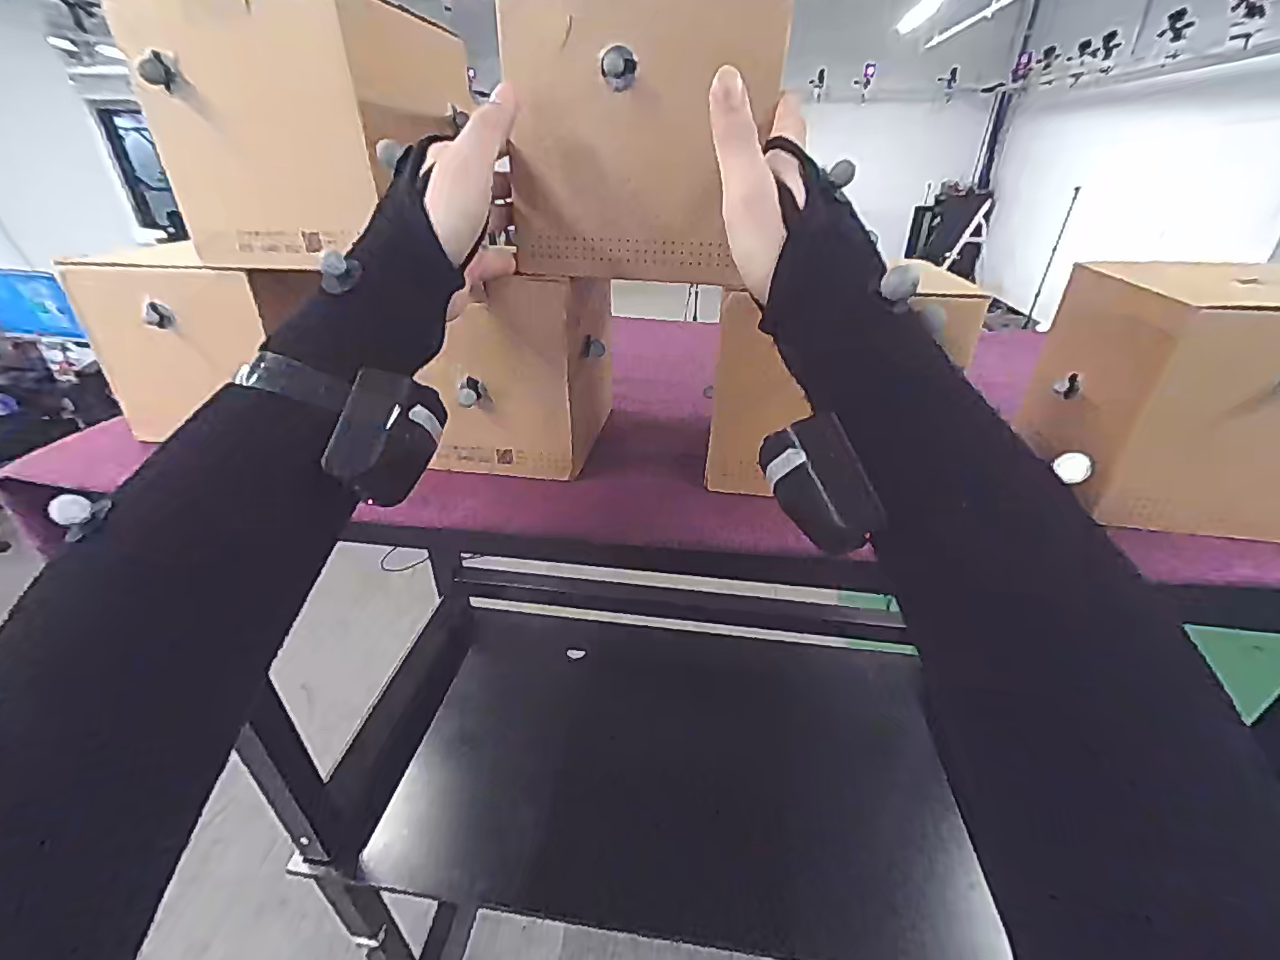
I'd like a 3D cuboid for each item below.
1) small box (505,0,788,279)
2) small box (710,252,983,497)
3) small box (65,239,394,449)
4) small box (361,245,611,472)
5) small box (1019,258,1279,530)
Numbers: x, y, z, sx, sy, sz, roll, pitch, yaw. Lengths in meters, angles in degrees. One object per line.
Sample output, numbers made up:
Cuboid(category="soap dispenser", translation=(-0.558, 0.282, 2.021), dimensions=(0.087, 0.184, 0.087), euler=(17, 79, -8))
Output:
Cuboid(category="small box", translation=(0.013, -0.258, 0.425), dimensions=(0.179, 0.176, 0.168), euler=(6, 30, 7))
Cuboid(category="small box", translation=(0.158, -0.098, 0.478), dimensions=(0.179, 0.176, 0.168), euler=(3, 30, 9))
Cuboid(category="small box", translation=(-0.380, -0.141, 0.542), dimensions=(0.179, 0.176, 0.168), euler=(5, 30, 6))
Cuboid(category="small box", translation=(-0.121, -0.121, 0.512), dimensions=(0.168, 0.176, 0.179), euler=(5, 30, 6))
Cuboid(category="small box", translation=(0.441, -0.076, 0.435), dimensions=(0.179, 0.176, 0.168), euler=(6, 32, 11))
